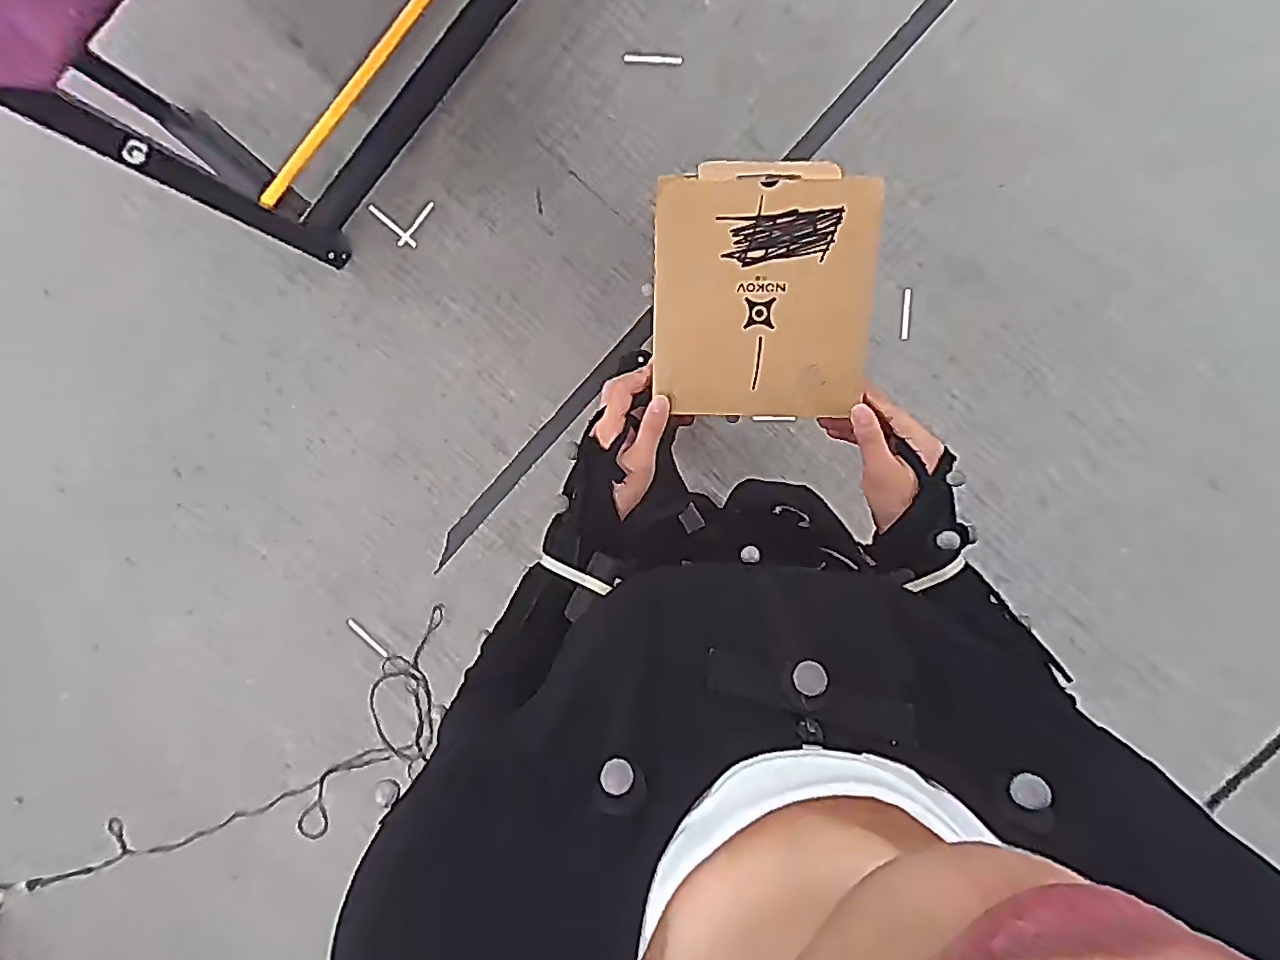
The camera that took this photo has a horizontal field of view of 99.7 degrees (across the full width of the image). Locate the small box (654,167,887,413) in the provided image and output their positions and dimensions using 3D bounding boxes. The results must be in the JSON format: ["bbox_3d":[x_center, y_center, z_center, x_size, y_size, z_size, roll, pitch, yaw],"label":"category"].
[{"bbox_3d":[0.100,-0.157,0.486,0.168,0.176,0.179,2,102,4],"label":"small box"}]
